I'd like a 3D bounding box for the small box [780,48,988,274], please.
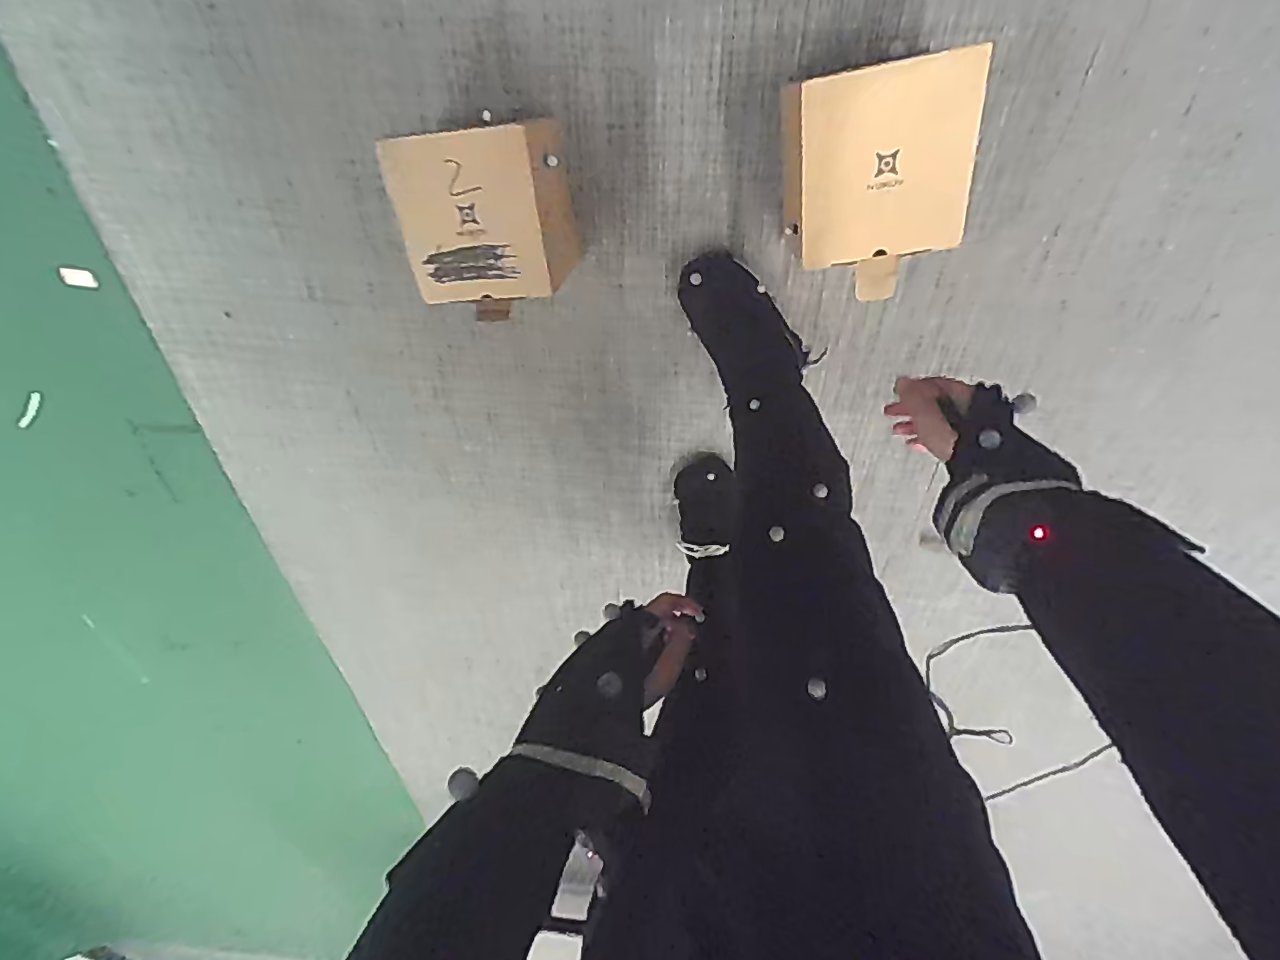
[{"bbox_3d":[0.250,-0.351,0.603,0.168,0.176,0.179,-5,126,10],"label":"small box"}]
